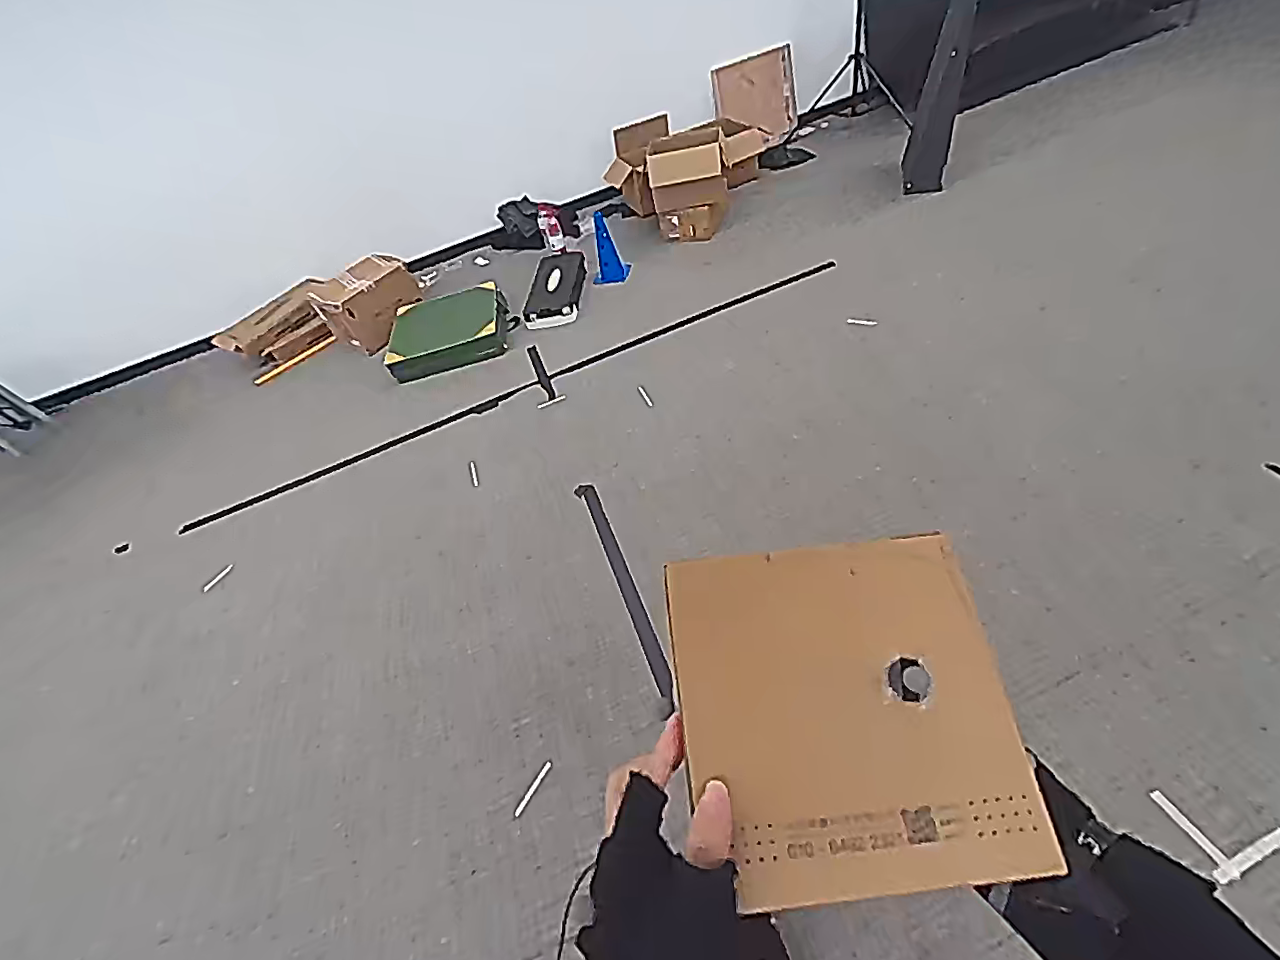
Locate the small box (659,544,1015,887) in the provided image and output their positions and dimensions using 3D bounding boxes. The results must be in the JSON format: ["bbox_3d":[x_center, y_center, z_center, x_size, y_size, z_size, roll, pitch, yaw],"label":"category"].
[{"bbox_3d":[0.108,0.158,0.371,0.168,0.179,0.176,-7,66,1],"label":"small box"}]
